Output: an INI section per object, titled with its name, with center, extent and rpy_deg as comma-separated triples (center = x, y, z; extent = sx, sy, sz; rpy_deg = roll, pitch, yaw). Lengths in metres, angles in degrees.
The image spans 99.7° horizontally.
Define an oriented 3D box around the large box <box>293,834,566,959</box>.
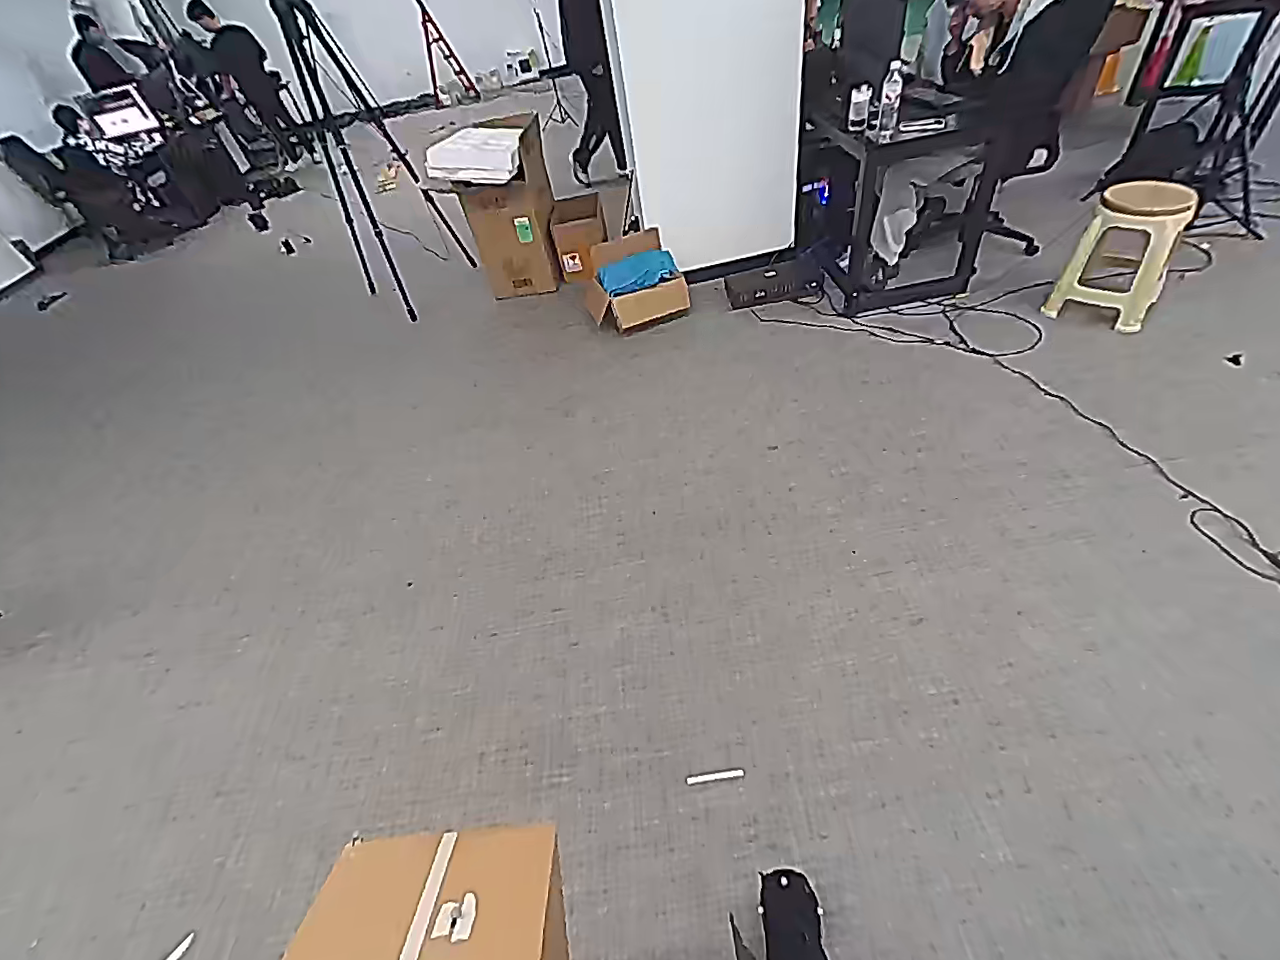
[large box]
center = -0.264, 0.733, 0.654
extent = 0.320, 0.320, 0.408
rpy_deg = -3, 11, -1
